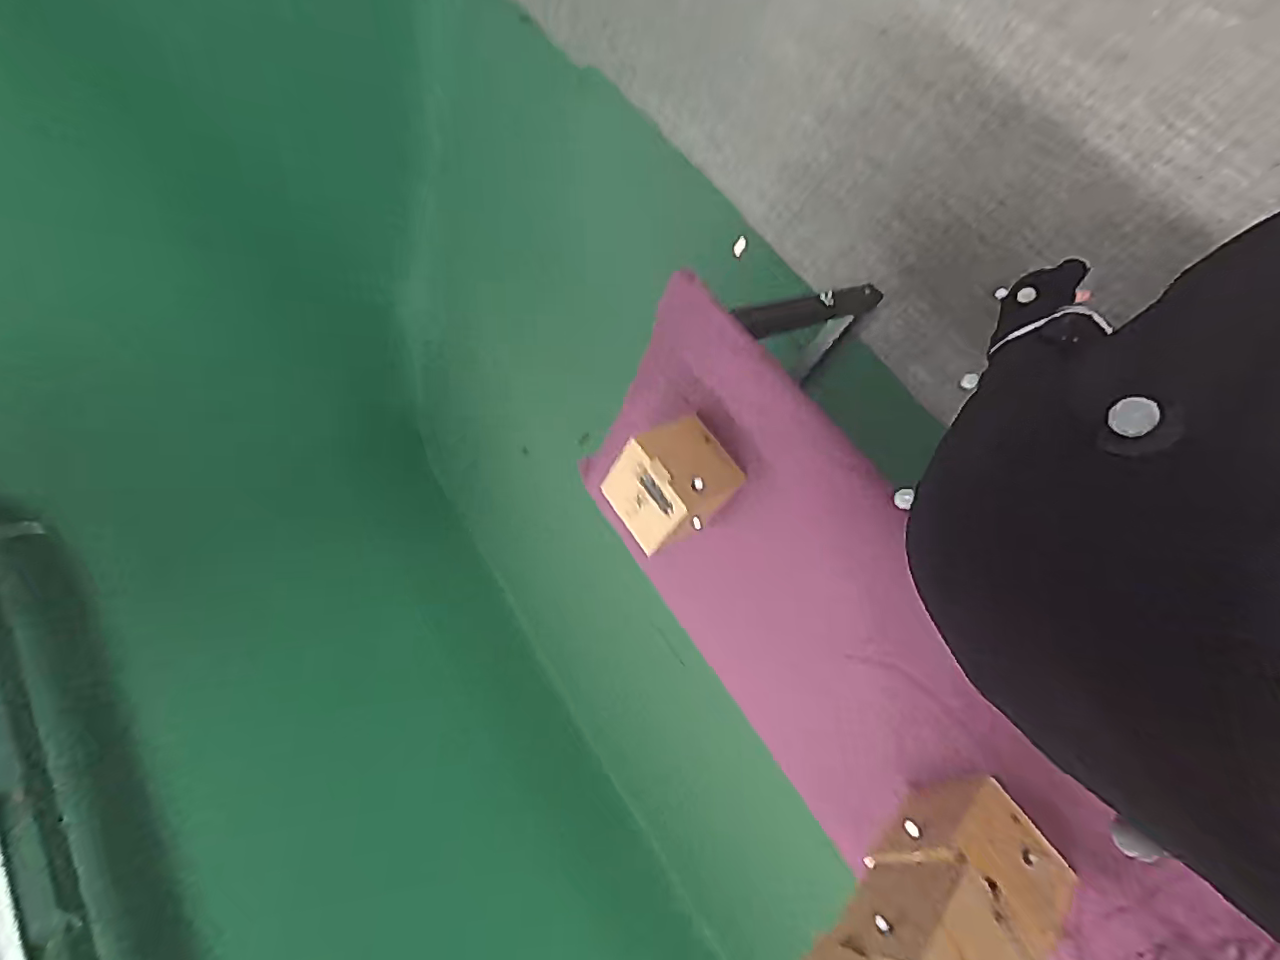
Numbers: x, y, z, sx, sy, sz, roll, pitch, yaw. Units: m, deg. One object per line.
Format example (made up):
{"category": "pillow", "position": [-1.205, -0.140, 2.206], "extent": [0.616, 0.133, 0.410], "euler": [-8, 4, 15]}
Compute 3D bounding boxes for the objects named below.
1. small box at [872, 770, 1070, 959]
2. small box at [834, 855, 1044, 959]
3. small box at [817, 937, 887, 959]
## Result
{"category": "small box", "position": [0.507, 0.584, 0.830], "extent": [0.168, 0.176, 0.179], "euler": [52, 138, 19]}
{"category": "small box", "position": [0.399, 0.632, 0.715], "extent": [0.168, 0.176, 0.179], "euler": [55, 141, 16]}
{"category": "small box", "position": [0.278, 0.683, 0.615], "extent": [0.179, 0.176, 0.168], "euler": [-26, 86, 50]}
